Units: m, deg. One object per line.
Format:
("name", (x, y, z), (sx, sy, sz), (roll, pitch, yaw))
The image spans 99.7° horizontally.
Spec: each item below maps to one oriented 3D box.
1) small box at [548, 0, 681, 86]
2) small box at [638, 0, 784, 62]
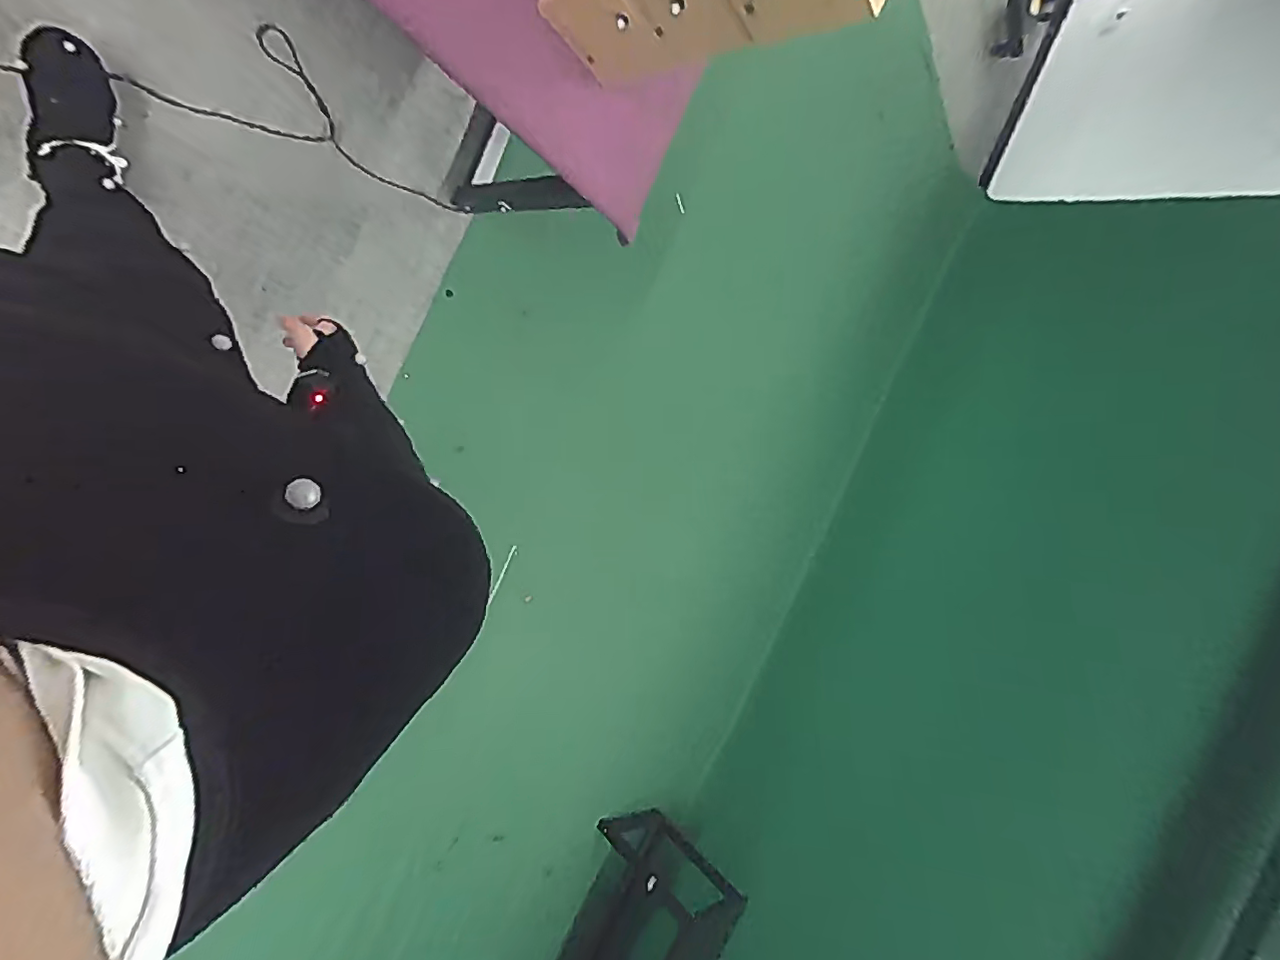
("small box", (-0.014, -0.759, 0.831), (0.168, 0.176, 0.179), (22, 91, -46))
("small box", (0.097, -0.709, 0.719), (0.168, 0.176, 0.179), (24, 90, -48))
